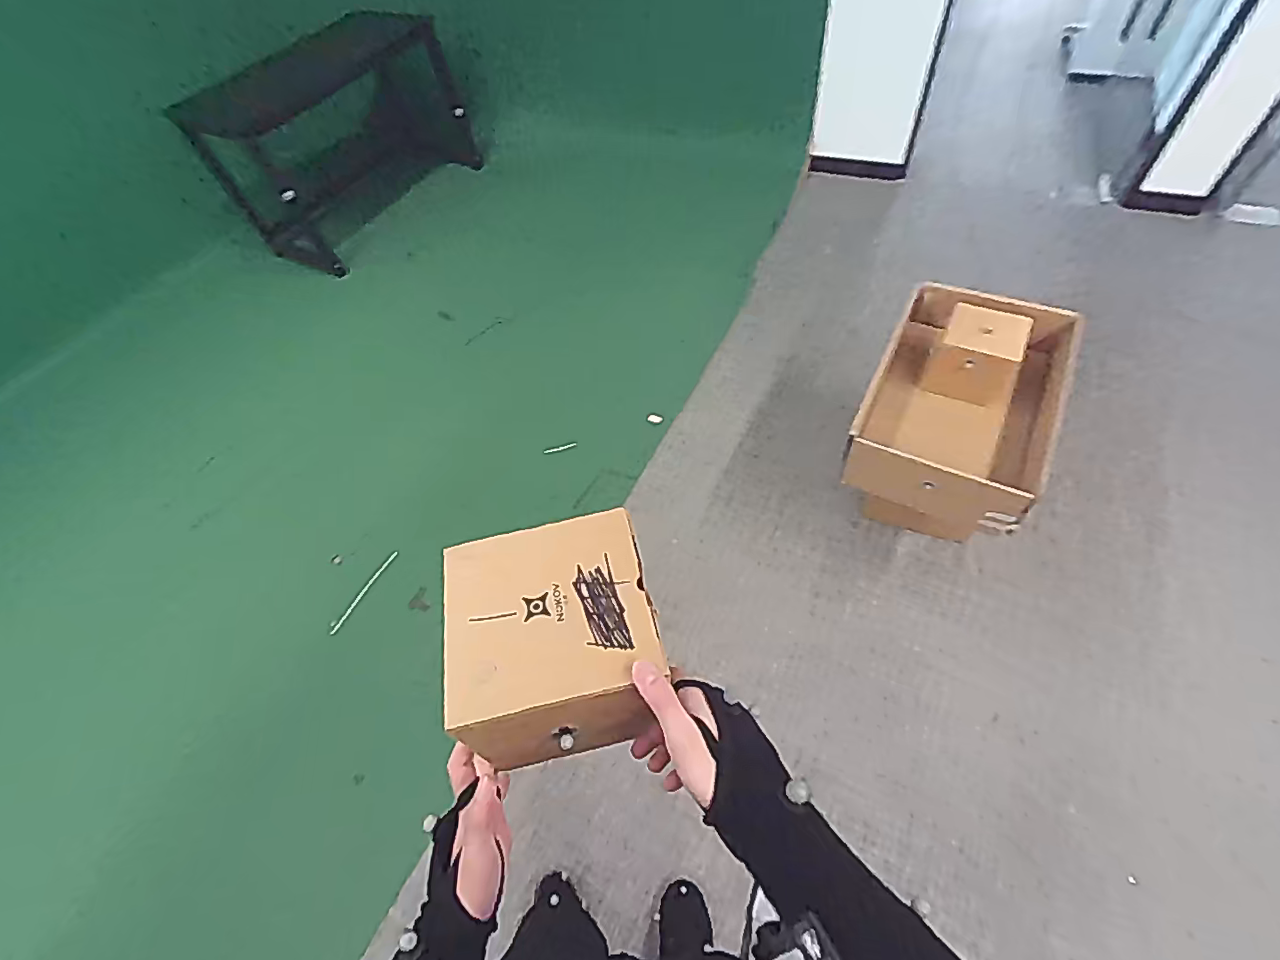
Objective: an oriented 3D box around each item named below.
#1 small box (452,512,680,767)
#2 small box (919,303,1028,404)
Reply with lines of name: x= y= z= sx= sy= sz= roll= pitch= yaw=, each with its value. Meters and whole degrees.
small box: x=-0.065 y=0.156 z=0.518 sx=0.179 sy=0.176 sz=0.168 roll=-11 pitch=52 yaw=-4
small box: x=0.856 y=-0.323 z=1.398 sx=0.179 sy=0.176 sz=0.168 roll=22 pitch=62 yaw=21
